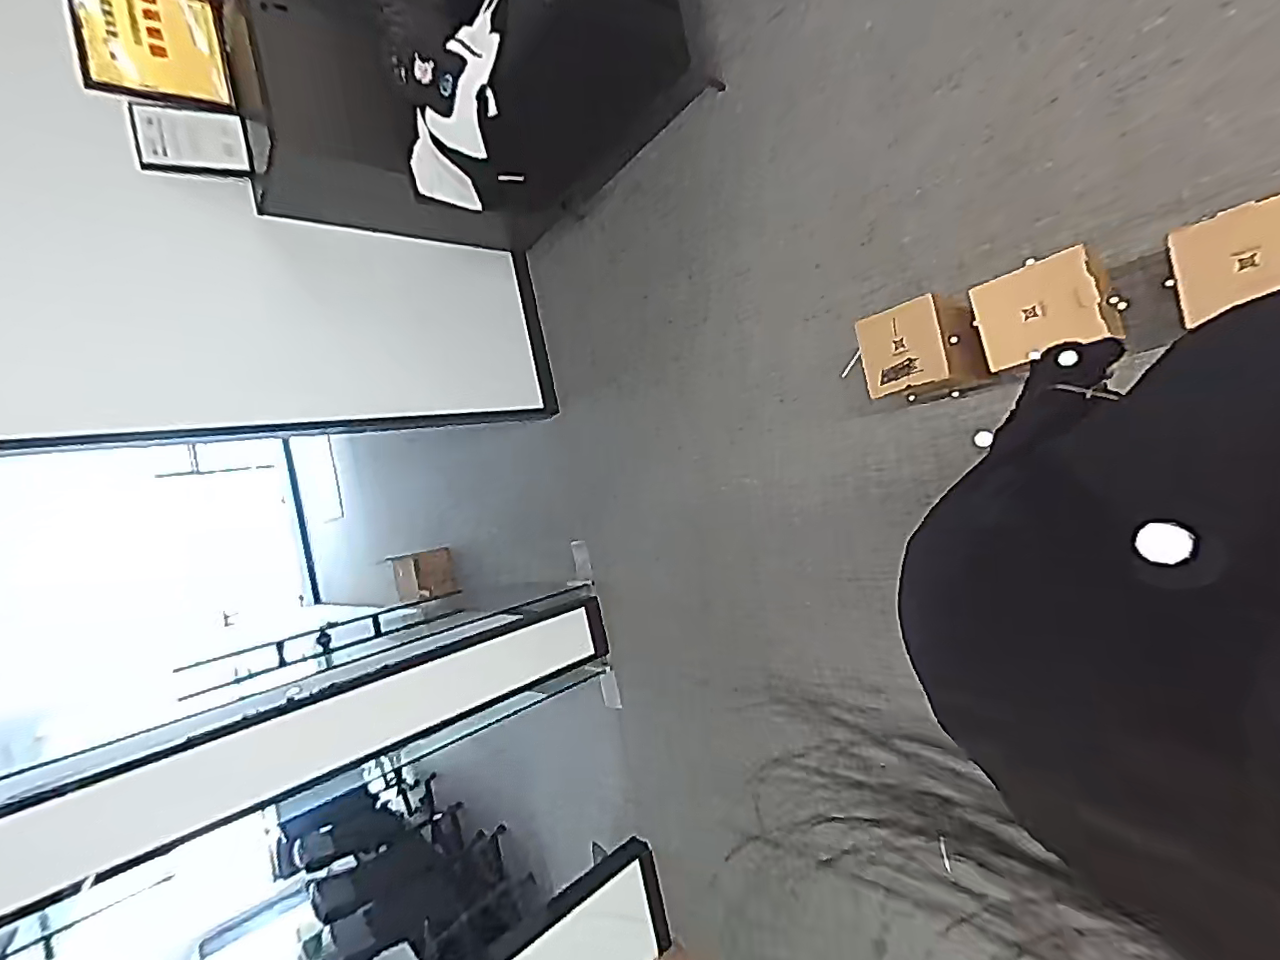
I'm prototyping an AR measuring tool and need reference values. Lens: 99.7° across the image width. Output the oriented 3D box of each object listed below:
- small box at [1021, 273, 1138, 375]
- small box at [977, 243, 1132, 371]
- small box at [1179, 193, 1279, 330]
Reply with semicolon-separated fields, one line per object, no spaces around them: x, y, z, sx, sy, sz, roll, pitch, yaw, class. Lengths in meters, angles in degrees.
0.885;-0.323;1.110;0.168;0.176;0.179;-17;84;50;small box
0.766;-0.307;1.000;0.179;0.176;0.168;-18;84;48;small box
1.049;-0.368;0.918;0.168;0.176;0.179;-12;89;49;small box
